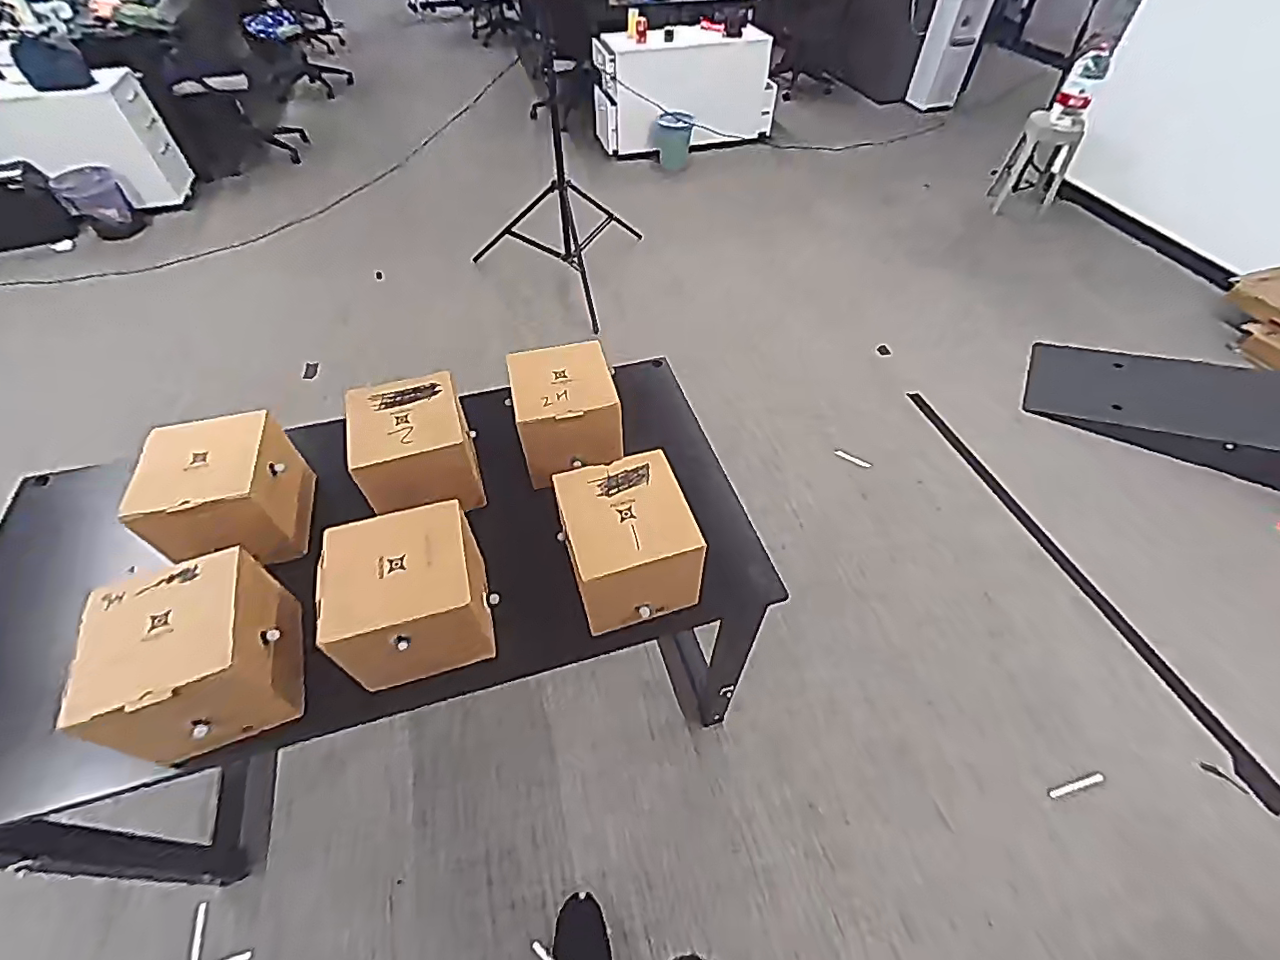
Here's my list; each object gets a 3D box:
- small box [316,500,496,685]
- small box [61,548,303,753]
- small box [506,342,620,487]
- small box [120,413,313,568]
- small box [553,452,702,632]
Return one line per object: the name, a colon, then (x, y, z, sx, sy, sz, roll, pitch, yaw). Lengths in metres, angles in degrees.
small box: (-0.310, 0.157, 0.740, 0.179, 0.176, 0.168, -14, 52, -12)
small box: (-0.553, 0.222, 0.686, 0.168, 0.176, 0.179, -18, 53, -14)
small box: (-0.135, -0.115, 0.960, 0.168, 0.176, 0.179, -12, 52, -9)
small box: (-0.641, 0.025, 0.849, 0.168, 0.176, 0.179, -12, 52, -10)
small box: (-0.022, 0.091, 0.790, 0.168, 0.176, 0.179, -15, 52, -11)
